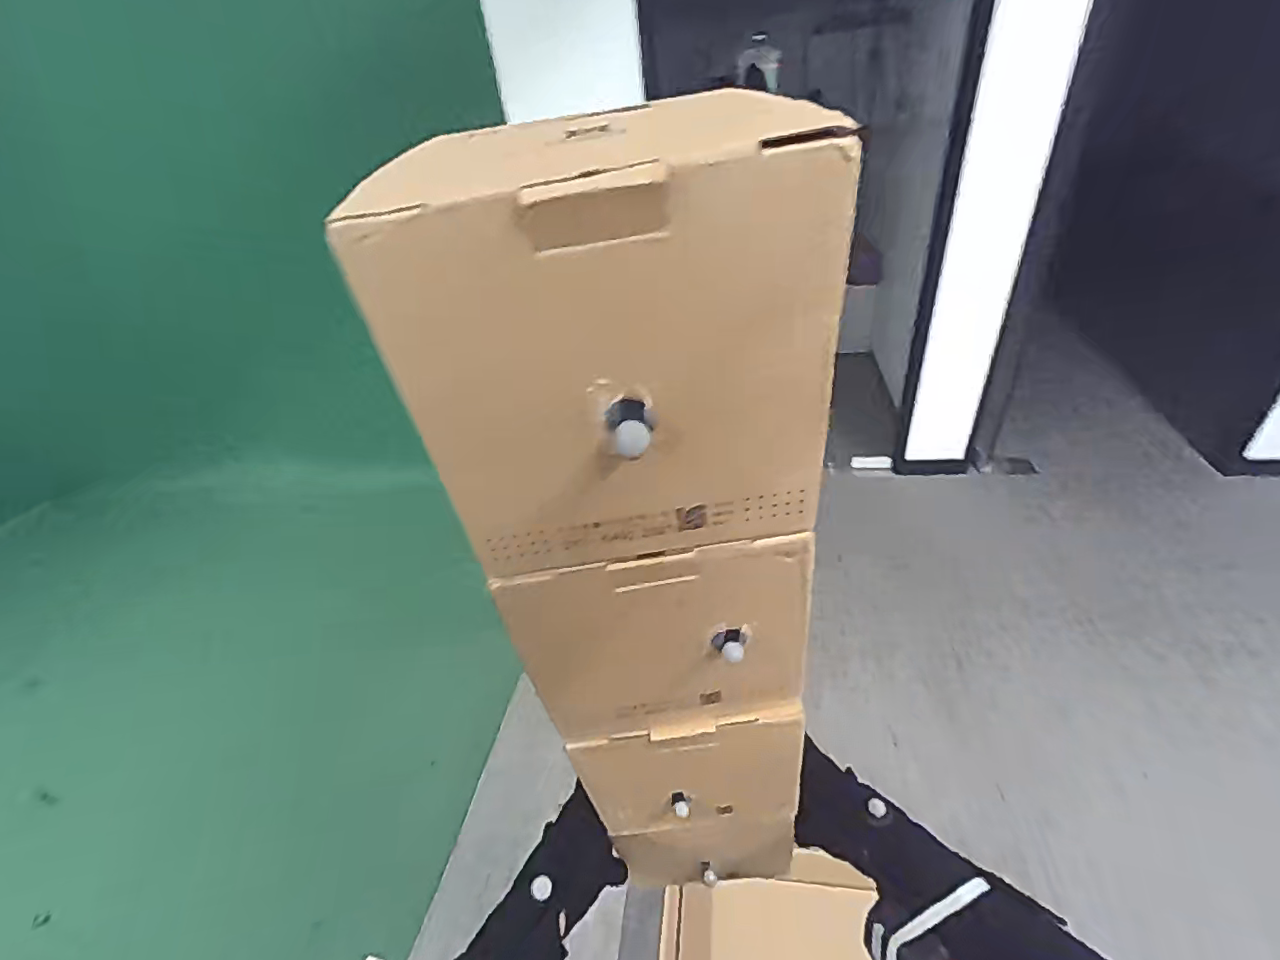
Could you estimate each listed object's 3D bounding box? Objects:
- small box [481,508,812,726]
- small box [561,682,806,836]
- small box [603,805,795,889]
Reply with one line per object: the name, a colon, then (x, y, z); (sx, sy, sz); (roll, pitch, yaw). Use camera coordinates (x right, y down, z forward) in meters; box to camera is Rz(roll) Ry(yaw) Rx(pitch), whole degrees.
small box: (0.008, 0.047, 0.370); (0.168, 0.176, 0.179); (-9, 39, 1)
small box: (0.034, 0.175, 0.469); (0.168, 0.176, 0.179); (-8, 39, 3)
small box: (0.059, 0.300, 0.572); (0.168, 0.176, 0.179); (-8, 40, 4)
